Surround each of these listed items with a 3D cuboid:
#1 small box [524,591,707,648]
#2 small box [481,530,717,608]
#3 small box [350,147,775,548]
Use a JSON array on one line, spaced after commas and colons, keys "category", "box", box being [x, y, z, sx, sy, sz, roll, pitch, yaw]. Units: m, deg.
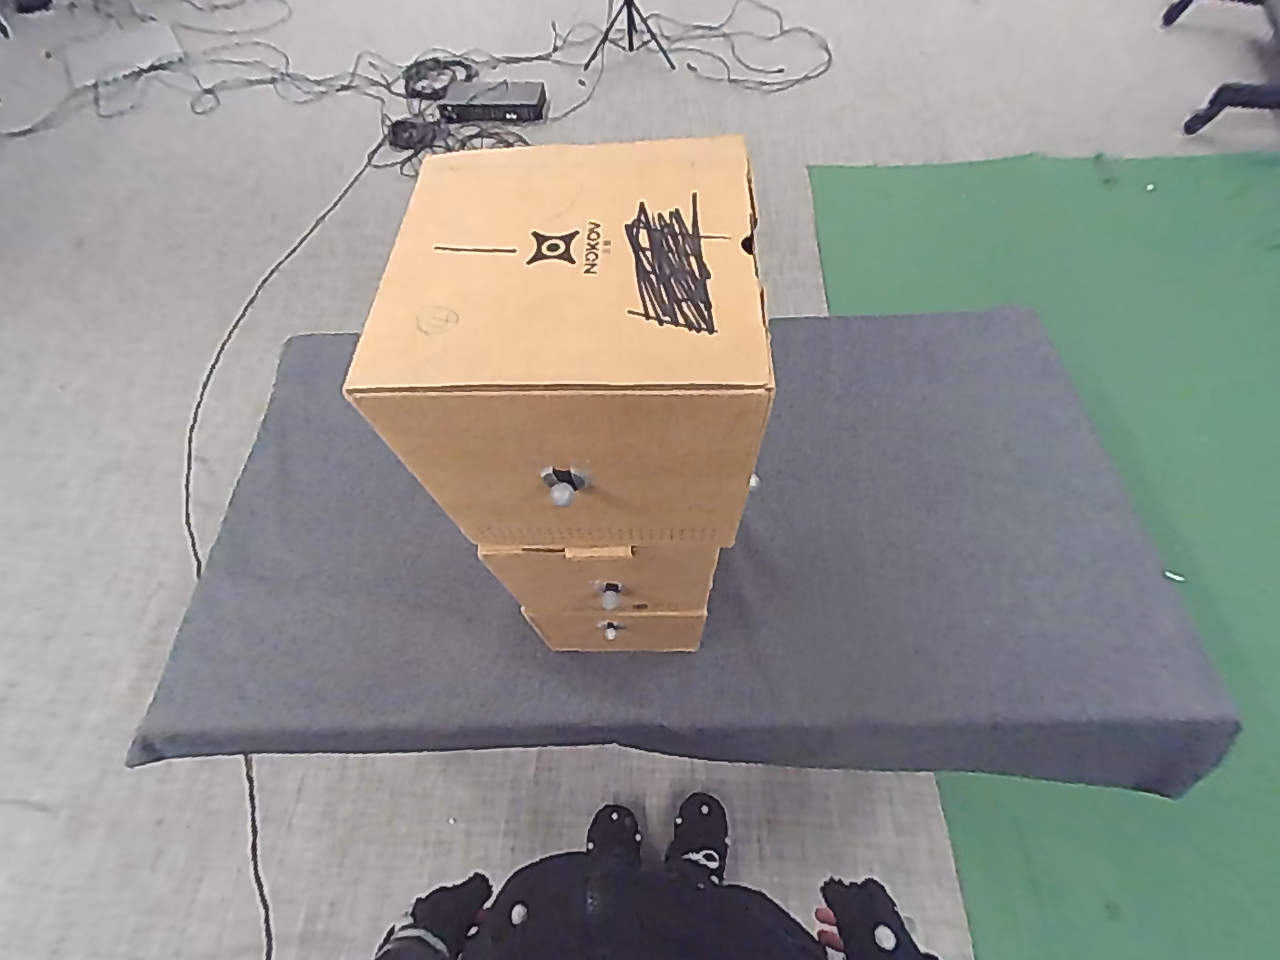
[{"category": "small box", "box": [-0.019, 0.091, 0.612, 0.179, 0.176, 0.168, 0, 62, 1]}, {"category": "small box", "box": [-0.025, 0.010, 0.471, 0.168, 0.176, 0.179, -3, 62, 2]}, {"category": "small box", "box": [-0.026, -0.065, 0.323, 0.179, 0.176, 0.168, 0, 61, 4]}]
